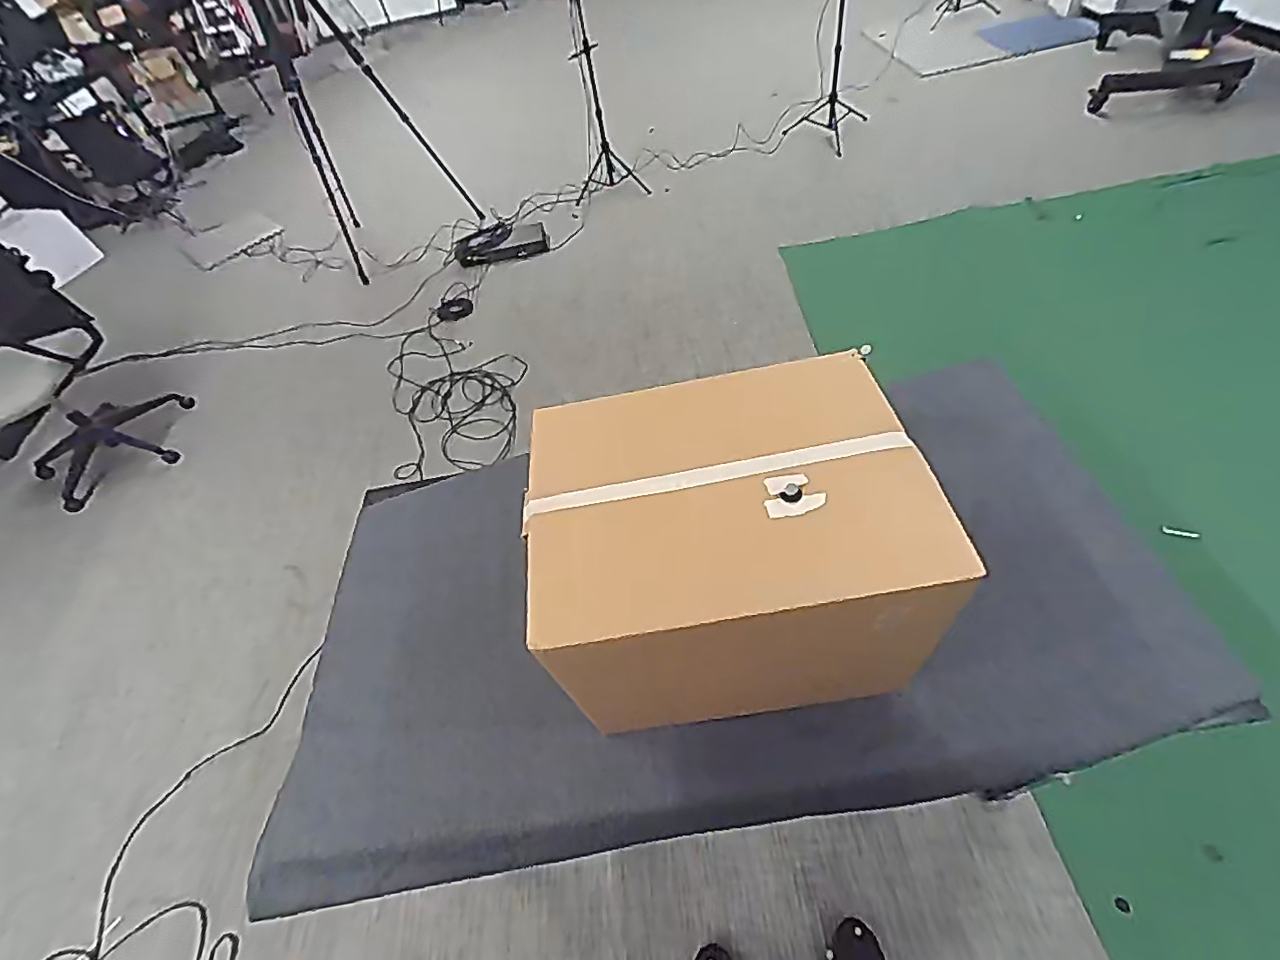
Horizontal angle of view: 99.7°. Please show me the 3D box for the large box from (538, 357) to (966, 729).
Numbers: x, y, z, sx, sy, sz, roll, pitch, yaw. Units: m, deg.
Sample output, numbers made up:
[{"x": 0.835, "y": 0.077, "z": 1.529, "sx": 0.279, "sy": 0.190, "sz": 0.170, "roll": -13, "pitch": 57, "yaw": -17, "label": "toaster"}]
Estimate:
[{"x": 0.104, "y": 0.093, "z": 0.698, "sx": 0.408, "sy": 0.320, "sz": 0.320, "roll": -10, "pitch": 52, "yaw": 3, "label": "large box"}]
